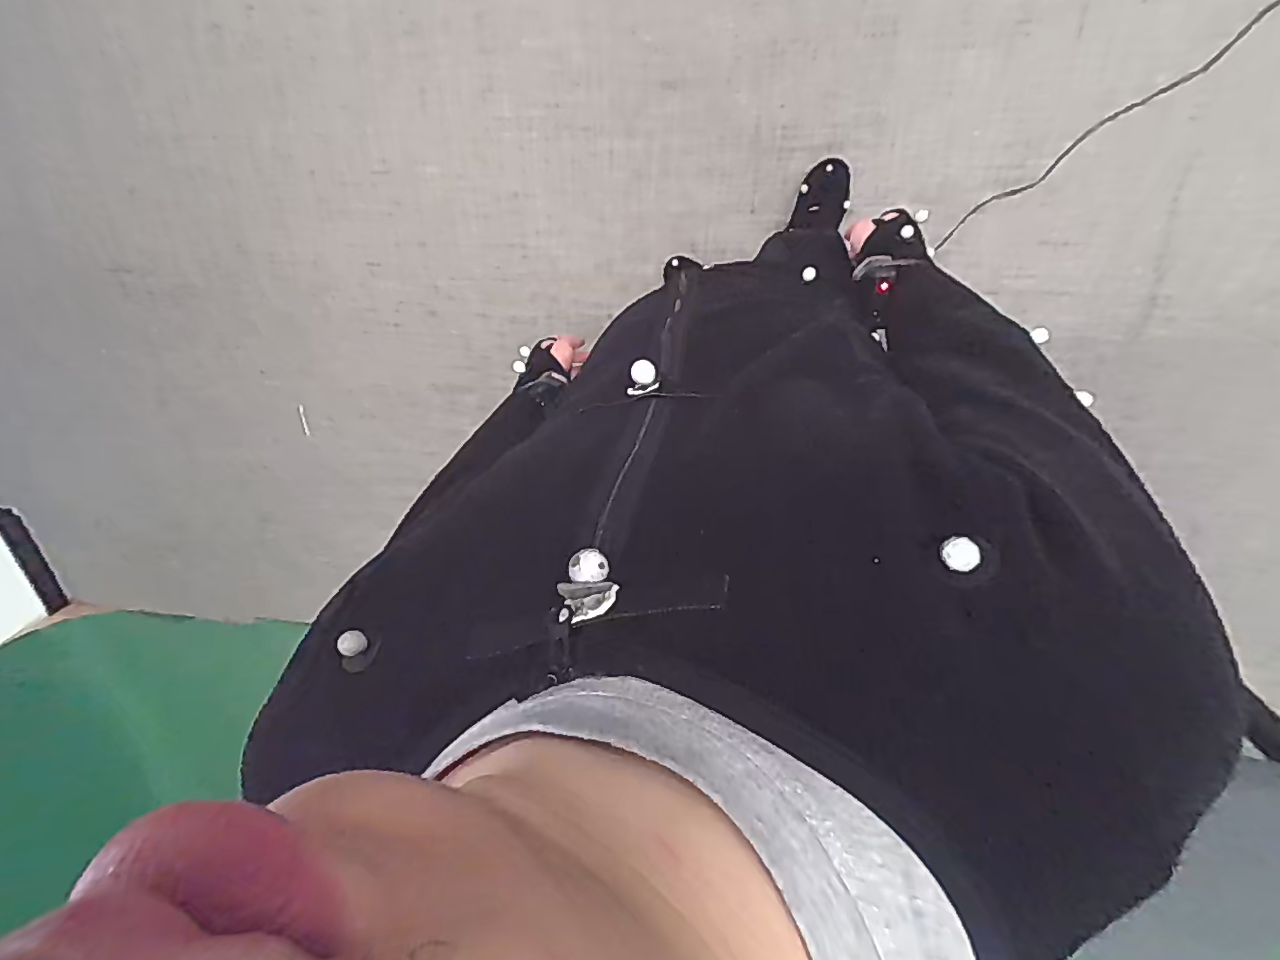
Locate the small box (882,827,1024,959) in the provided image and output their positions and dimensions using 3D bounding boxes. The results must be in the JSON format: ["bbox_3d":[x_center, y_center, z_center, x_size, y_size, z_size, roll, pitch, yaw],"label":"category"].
[{"bbox_3d":[0.589,0.810,1.045,0.179,0.176,0.168,4,115,10],"label":"small box"}]
